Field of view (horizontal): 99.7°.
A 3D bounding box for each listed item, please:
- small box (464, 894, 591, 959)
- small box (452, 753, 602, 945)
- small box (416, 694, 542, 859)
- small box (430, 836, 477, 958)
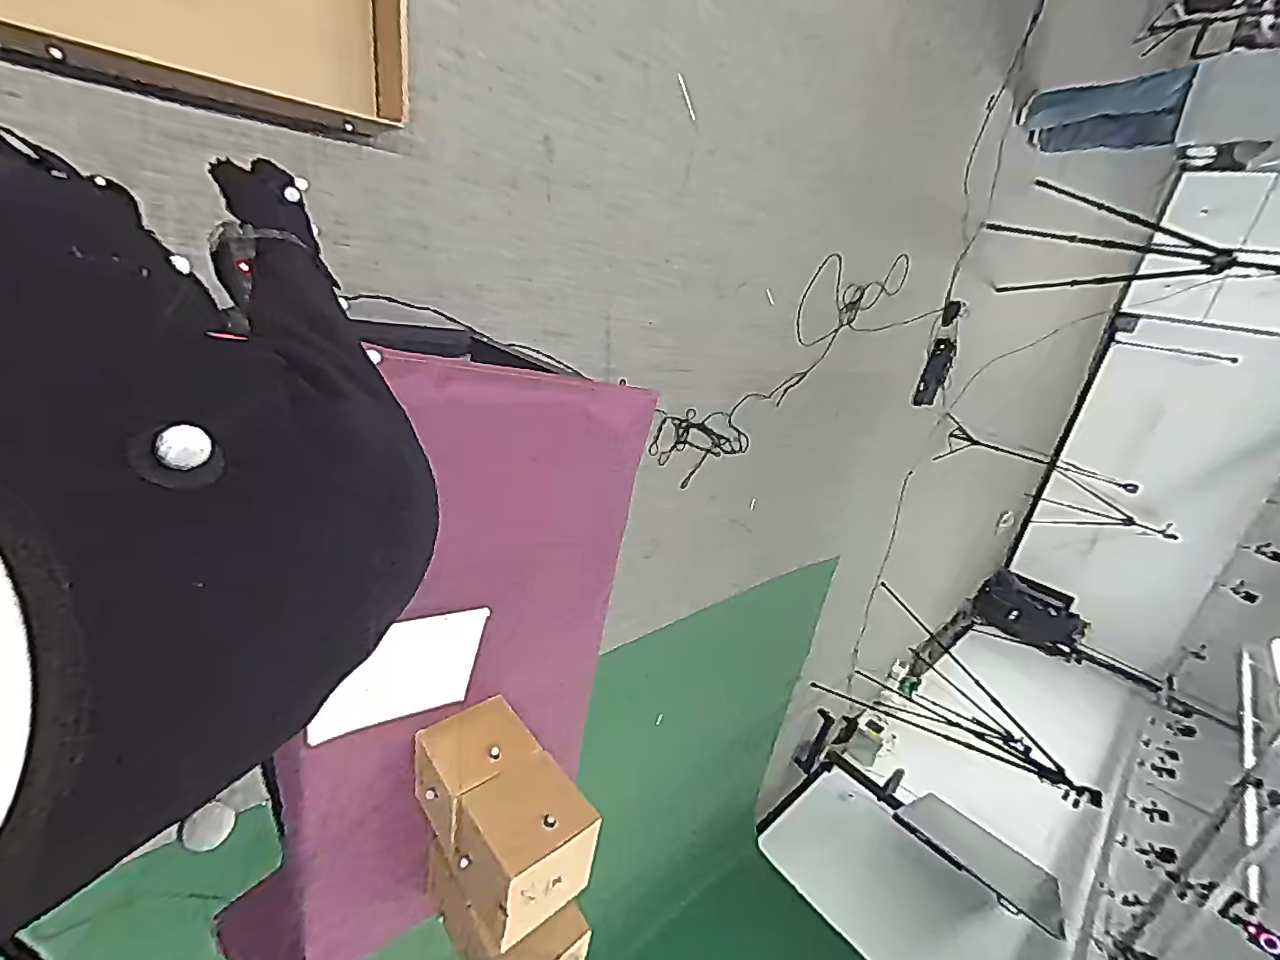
[{"bbox_3d":[-0.223,0.890,1.044,0.179,0.176,0.168,-7,117,-42],"label":"small box"},{"bbox_3d":[-0.194,0.607,0.918,0.179,0.176,0.168,-7,116,-43],"label":"small box"},{"bbox_3d":[-0.308,0.546,1.020,0.179,0.176,0.168,-12,119,-42],"label":"small box"},{"bbox_3d":[-0.332,0.836,1.154,0.179,0.176,0.168,-8,117,-43],"label":"small box"}]
